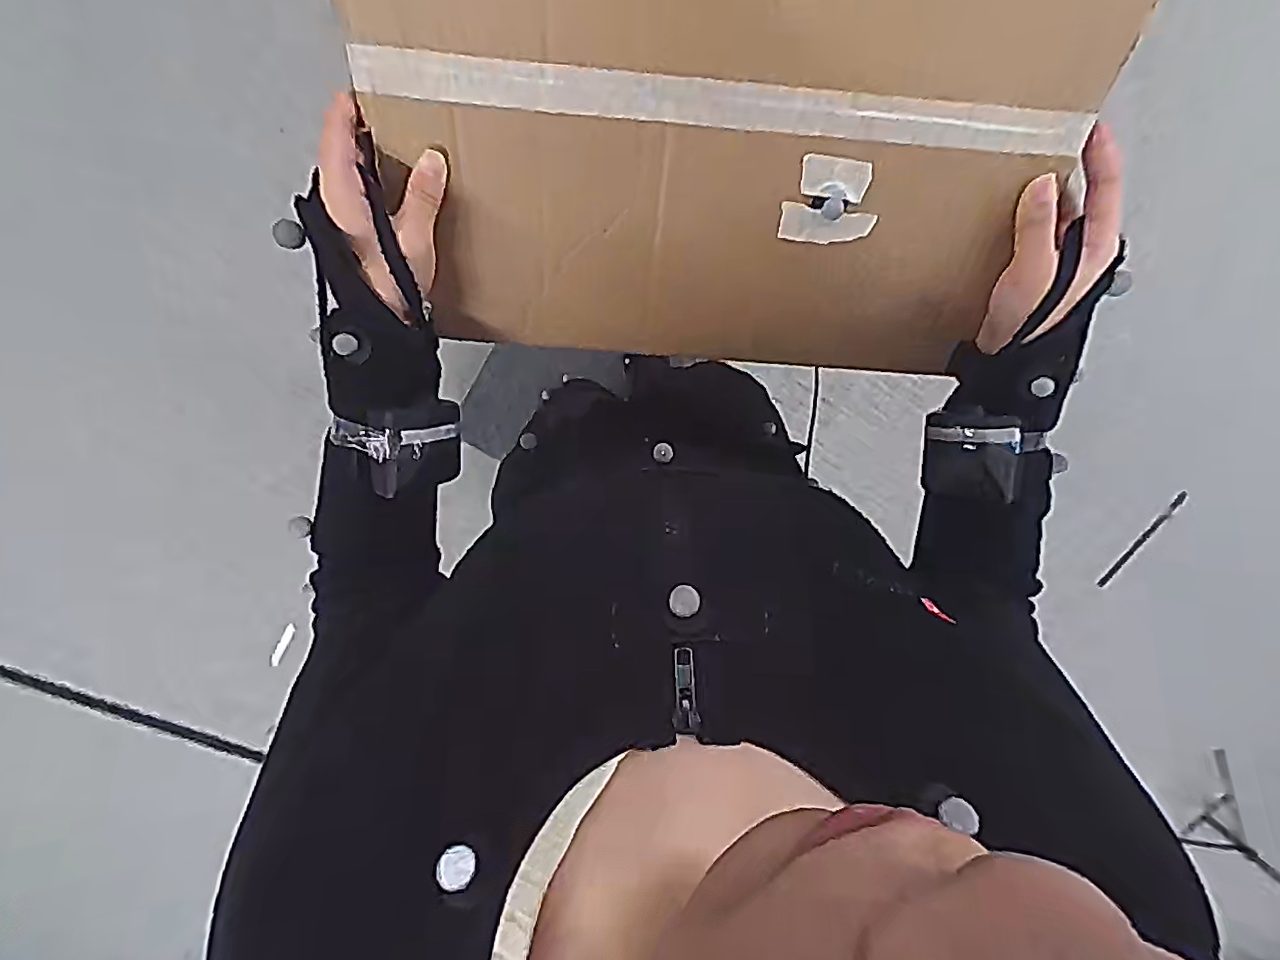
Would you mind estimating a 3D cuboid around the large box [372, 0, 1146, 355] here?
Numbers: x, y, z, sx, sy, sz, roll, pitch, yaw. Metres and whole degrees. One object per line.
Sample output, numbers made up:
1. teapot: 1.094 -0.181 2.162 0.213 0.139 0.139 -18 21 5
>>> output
1. large box: 0.054 -0.317 0.415 0.408 0.320 0.320 4 132 -4
